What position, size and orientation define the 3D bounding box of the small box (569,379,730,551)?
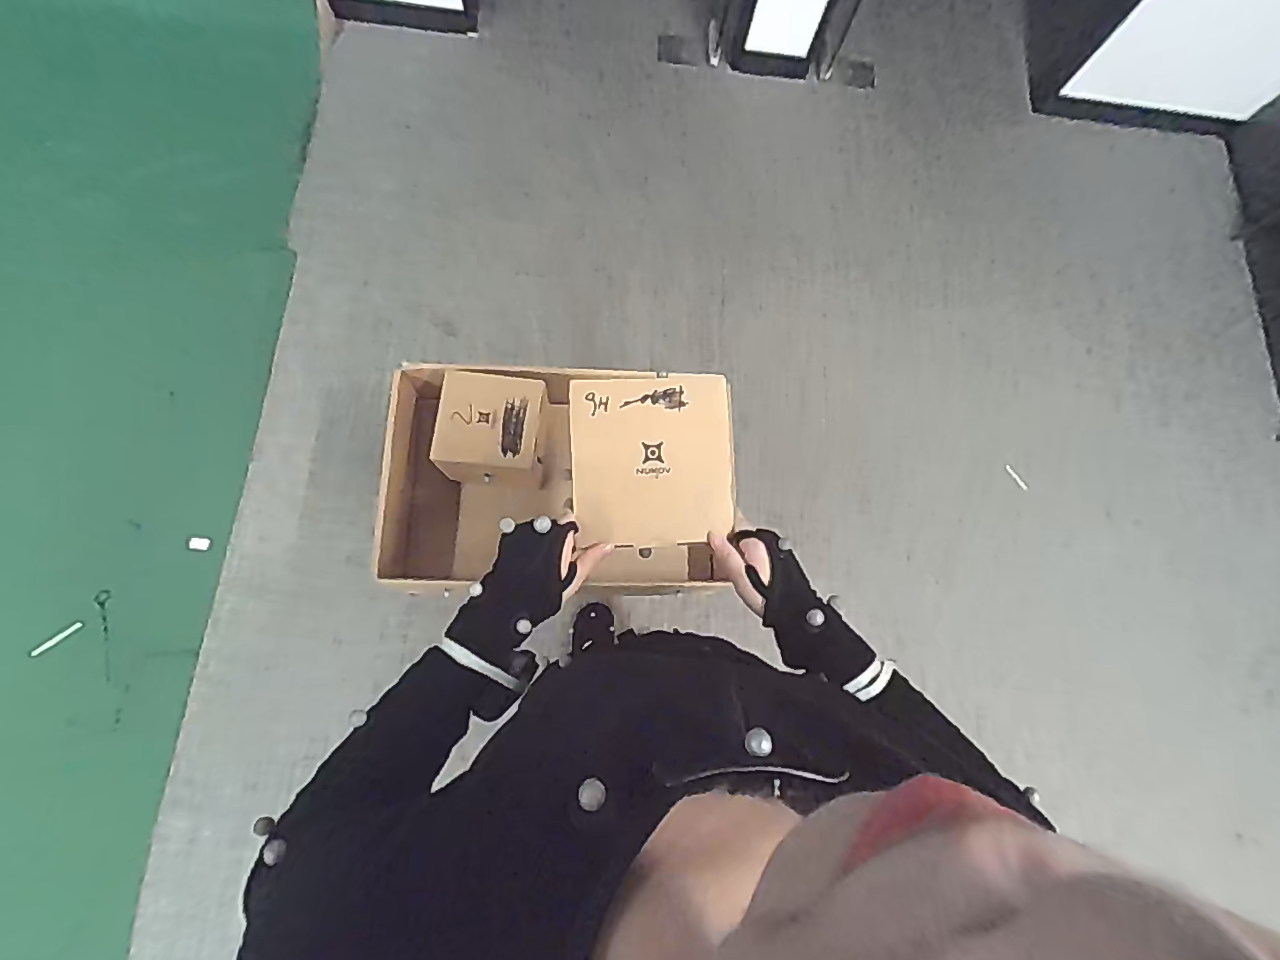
[{"bbox_3d":[0.003,-0.014,0.633,0.168,0.176,0.179,-2,87,-6],"label":"small box"}]
